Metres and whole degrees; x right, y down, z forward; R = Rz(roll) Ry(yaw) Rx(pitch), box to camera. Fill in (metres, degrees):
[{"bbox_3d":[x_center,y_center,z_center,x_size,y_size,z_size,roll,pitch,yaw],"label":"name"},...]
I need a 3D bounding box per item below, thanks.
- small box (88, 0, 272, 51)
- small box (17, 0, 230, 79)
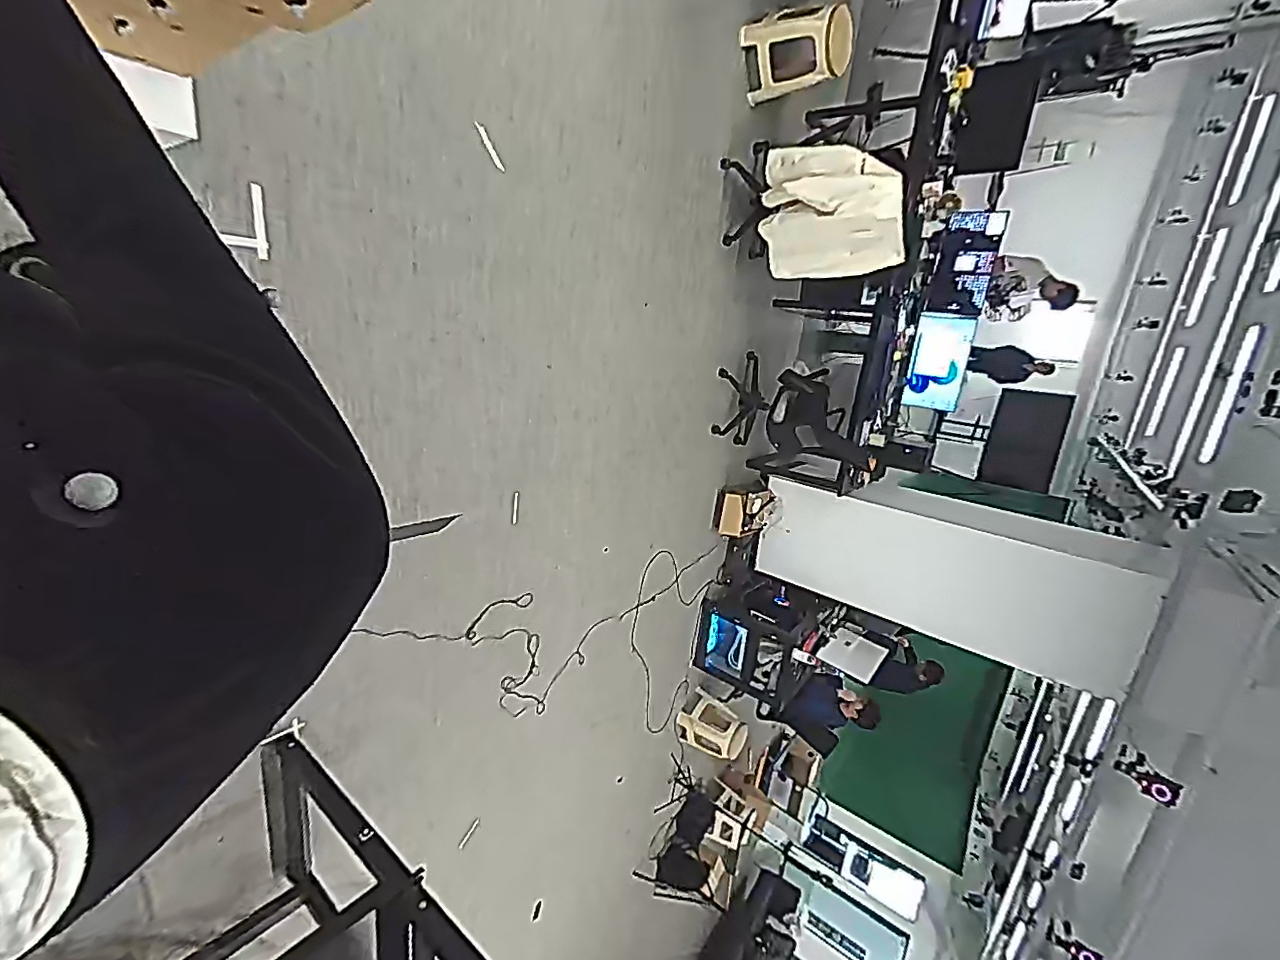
[{"bbox_3d":[-0.492,-0.578,0.546,0.168,0.176,0.179,-16,116,-50],"label":"small box"},{"bbox_3d":[-0.622,-0.618,0.640,0.168,0.176,0.179,-16,117,-49],"label":"small box"}]
